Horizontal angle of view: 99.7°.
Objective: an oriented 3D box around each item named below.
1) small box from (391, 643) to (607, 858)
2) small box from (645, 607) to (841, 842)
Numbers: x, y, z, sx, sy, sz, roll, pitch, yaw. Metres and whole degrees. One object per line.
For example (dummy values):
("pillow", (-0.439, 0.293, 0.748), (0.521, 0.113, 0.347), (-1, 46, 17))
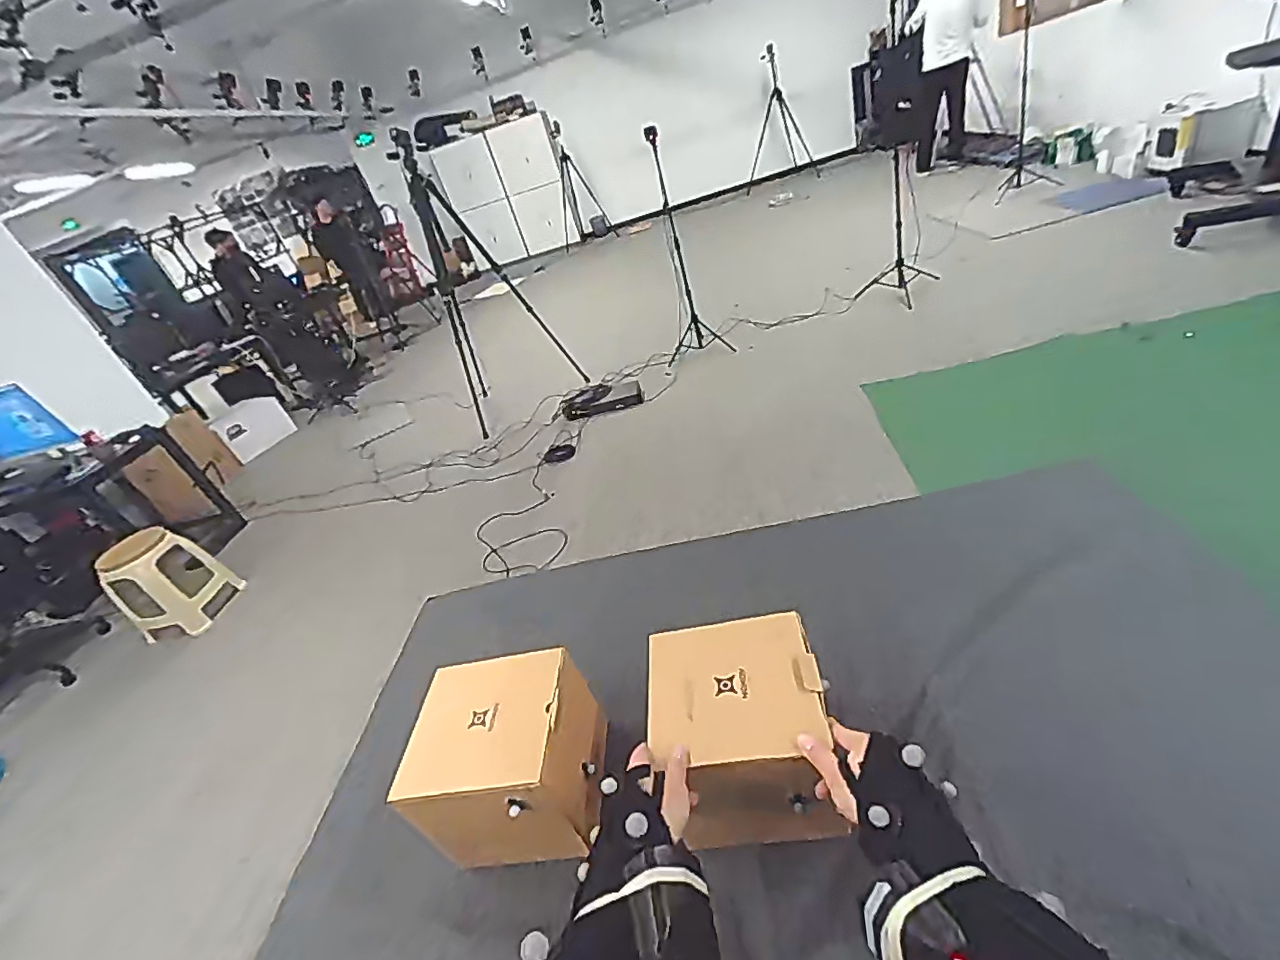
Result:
("small box", (-0.154, 0.330, 0.657), (0.179, 0.176, 0.168), (-13, 33, 10))
("small box", (0.114, 0.271, 0.599), (0.179, 0.176, 0.168), (-14, 32, 11))
